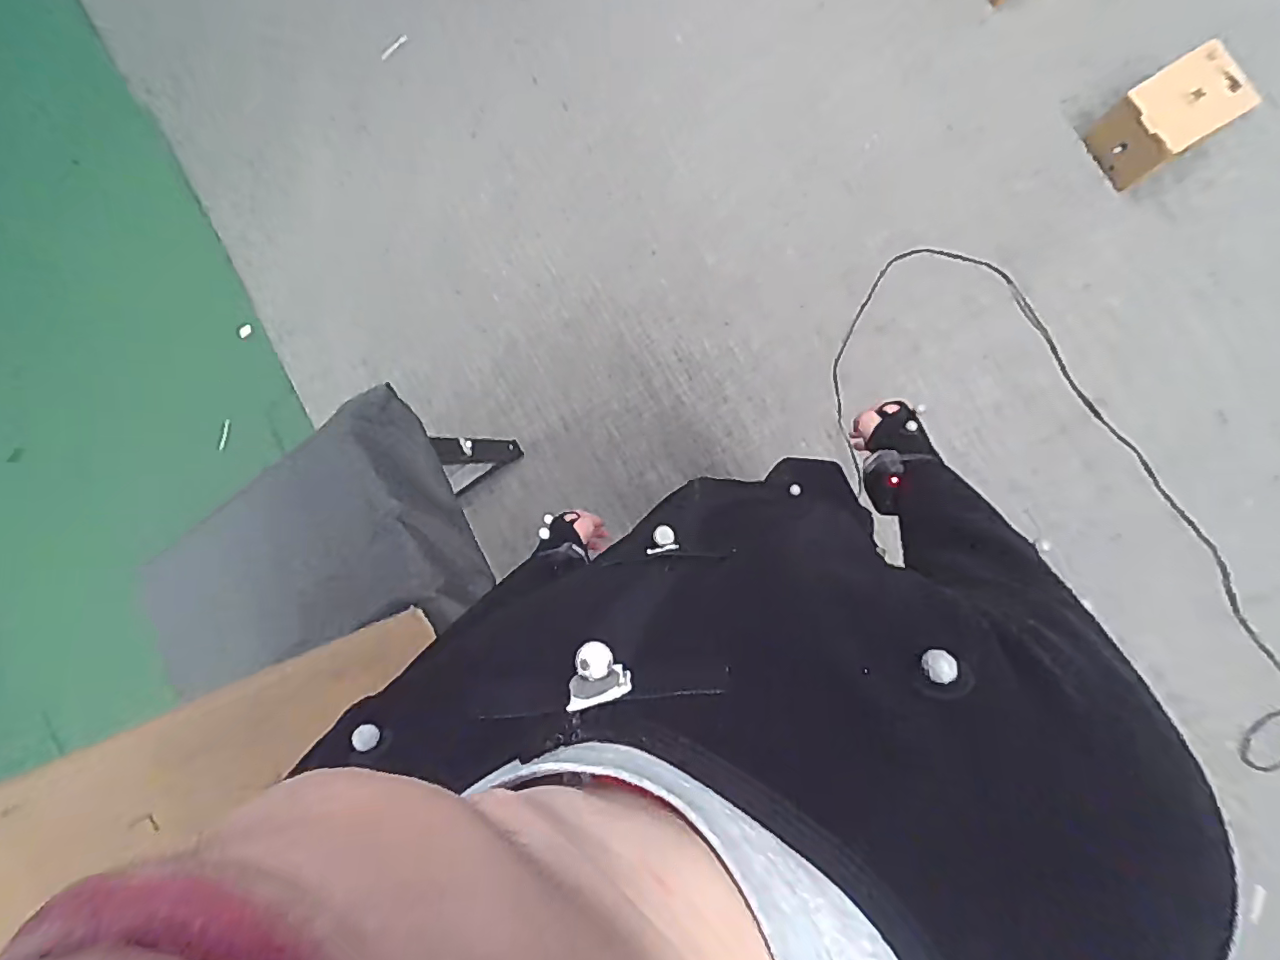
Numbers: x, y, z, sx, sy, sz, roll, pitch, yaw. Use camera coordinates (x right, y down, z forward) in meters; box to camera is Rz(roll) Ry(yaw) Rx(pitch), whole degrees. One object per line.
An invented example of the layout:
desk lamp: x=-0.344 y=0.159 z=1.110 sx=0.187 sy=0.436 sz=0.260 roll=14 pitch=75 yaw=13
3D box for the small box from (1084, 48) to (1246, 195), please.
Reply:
small box: x=1.141 y=-0.780 z=1.200 sx=0.179 sy=0.176 sz=0.168 roll=-31 pitch=84 yaw=13
